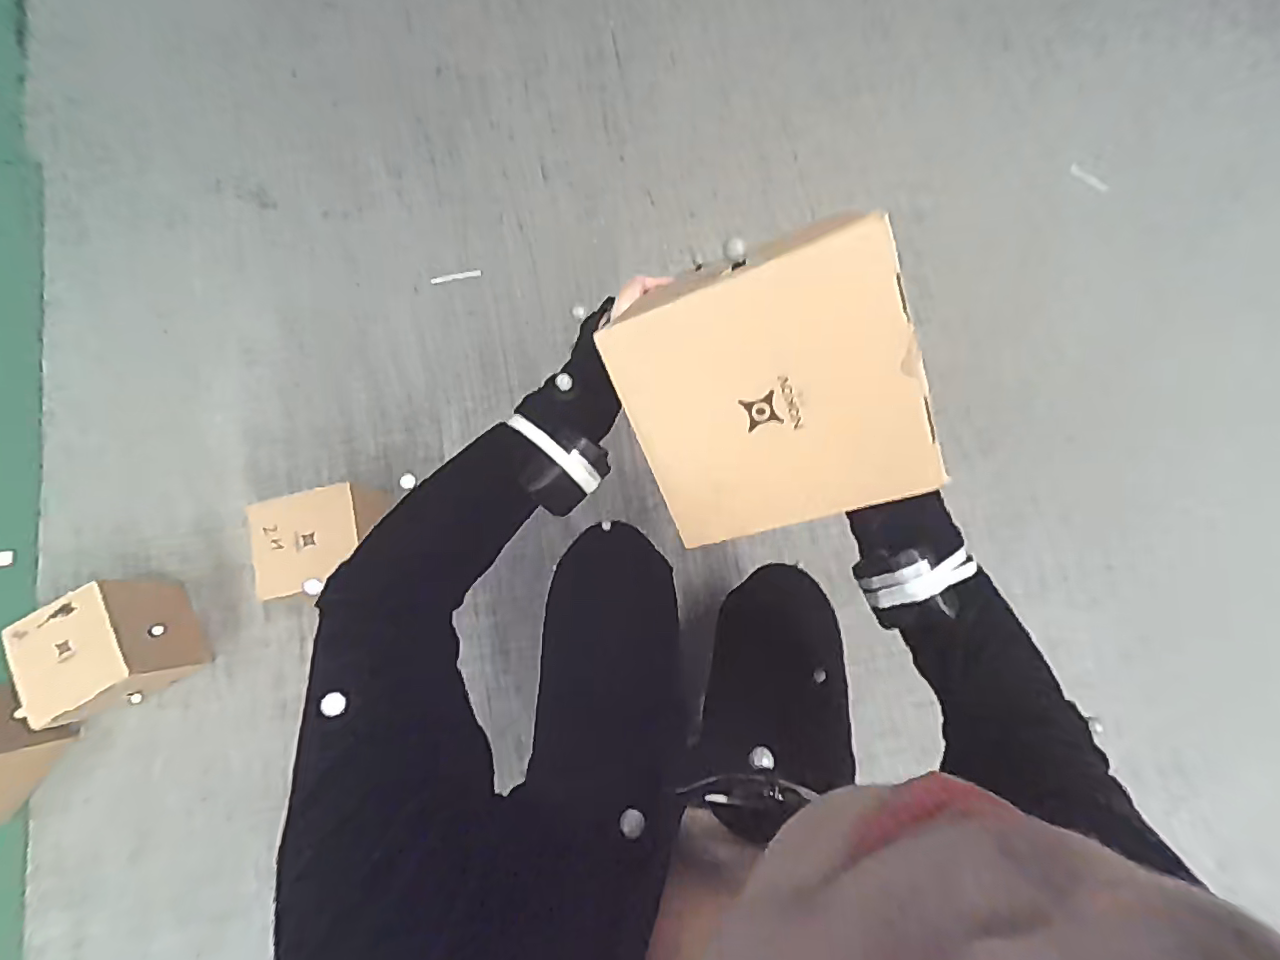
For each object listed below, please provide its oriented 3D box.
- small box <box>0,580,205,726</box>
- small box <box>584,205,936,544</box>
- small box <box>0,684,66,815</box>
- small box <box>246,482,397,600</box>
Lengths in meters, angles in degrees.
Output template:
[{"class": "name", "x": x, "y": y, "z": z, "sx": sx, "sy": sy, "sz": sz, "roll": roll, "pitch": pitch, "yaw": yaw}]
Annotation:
[{"class": "small box", "x": -0.913, "y": 0.285, "z": 0.935, "sx": 0.168, "sy": 0.176, "sz": 0.179, "roll": -29, "pitch": 80, "yaw": -5}, {"class": "small box", "x": 0.088, "y": -0.080, "z": 0.397, "sx": 0.179, "sy": 0.176, "sz": 0.168, "roll": -17, "pitch": 112, "yaw": 19}, {"class": "small box", "x": -1.146, "y": 0.469, "z": 0.899, "sx": 0.168, "sy": 0.176, "sz": 0.179, "roll": 33, "pitch": 80, "yaw": 7}, {"class": "small box", "x": -0.555, "y": 0.113, "z": 0.967, "sx": 0.179, "sy": 0.176, "sz": 0.168, "roll": -13, "pitch": 78, "yaw": -3}]
